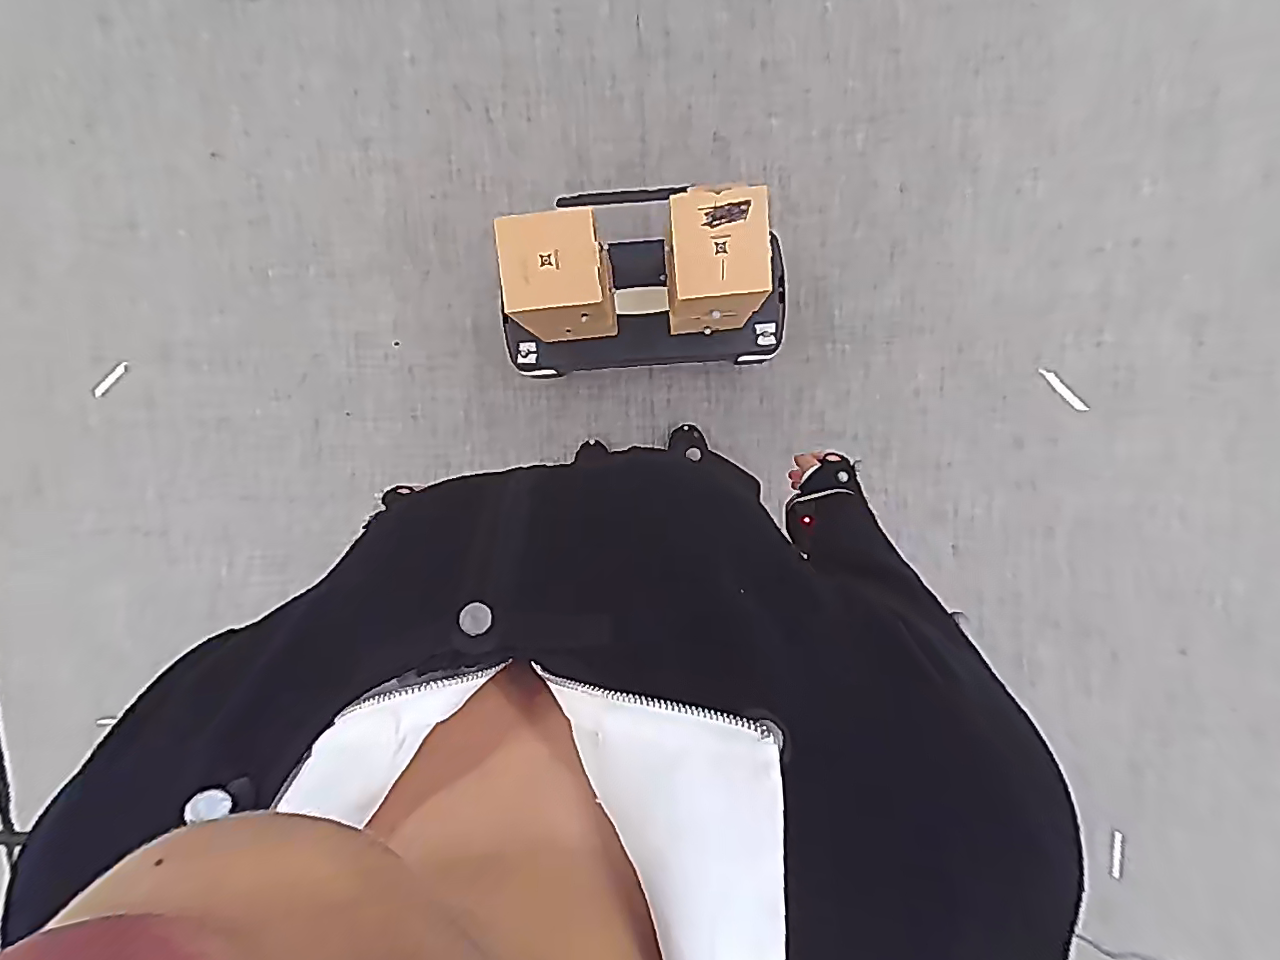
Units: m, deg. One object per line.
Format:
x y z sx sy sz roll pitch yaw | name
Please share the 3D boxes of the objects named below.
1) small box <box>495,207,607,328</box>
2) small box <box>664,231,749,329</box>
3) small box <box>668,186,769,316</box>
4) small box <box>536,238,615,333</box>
-0.157 -0.392 1.023 0.179 0.176 0.168 -6 95 3 | small box
0.139 -0.428 1.172 0.168 0.176 0.179 -4 96 4 | small box
0.140 -0.416 1.008 0.168 0.176 0.179 -4 96 3 | small box
-0.151 -0.410 1.186 0.179 0.176 0.168 -5 96 3 | small box
